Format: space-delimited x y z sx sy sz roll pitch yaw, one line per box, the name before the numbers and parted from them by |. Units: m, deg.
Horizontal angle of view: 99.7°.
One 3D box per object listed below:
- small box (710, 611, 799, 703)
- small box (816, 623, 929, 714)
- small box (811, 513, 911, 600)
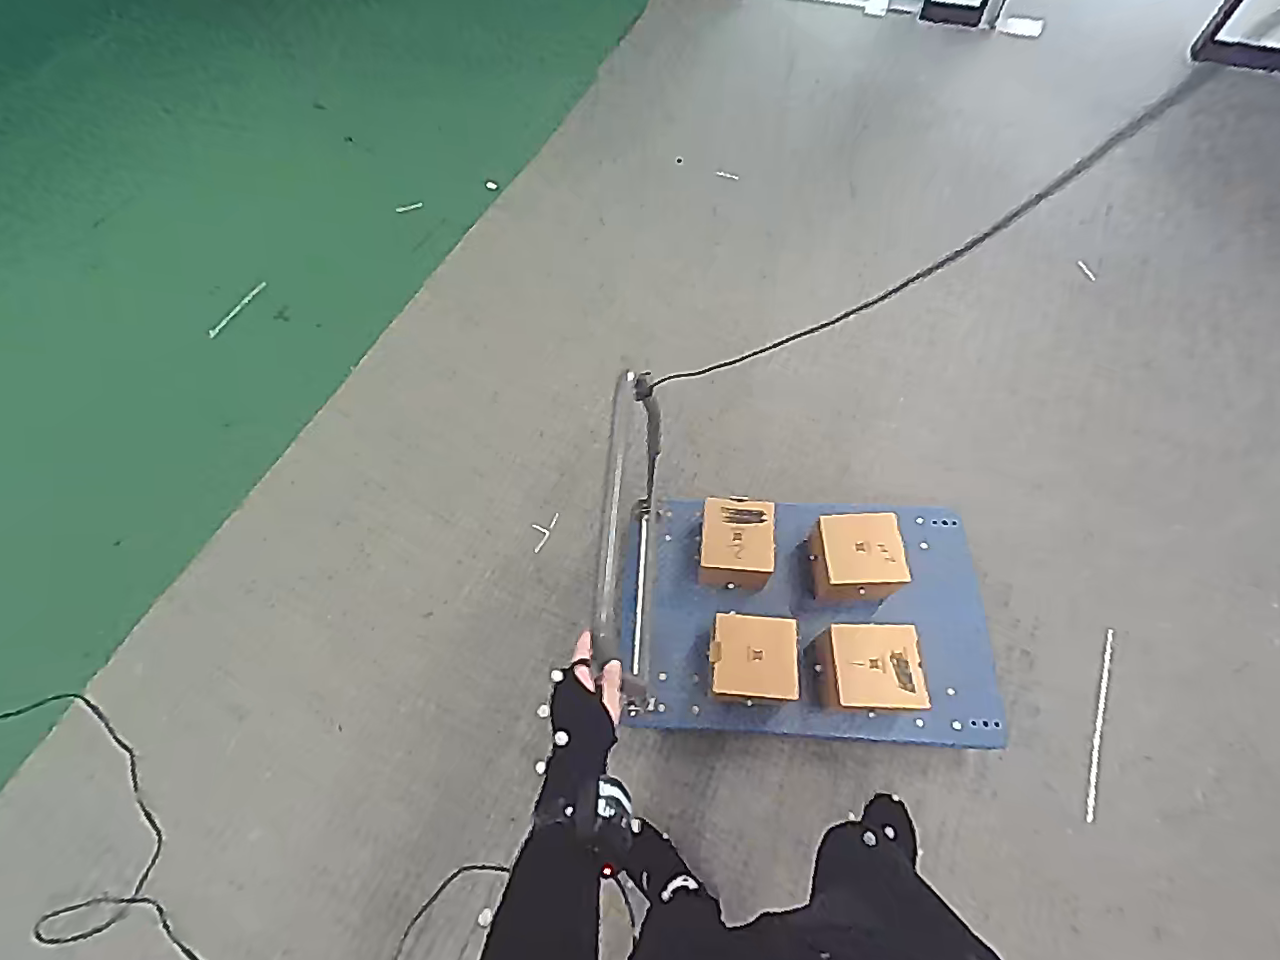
small box | 0.251 0.401 1.212 0.179 0.176 0.168 3 64 7
small box | 0.498 0.416 1.182 0.179 0.176 0.168 0 63 6
small box | 0.516 0.187 1.294 0.179 0.176 0.168 -1 65 4
